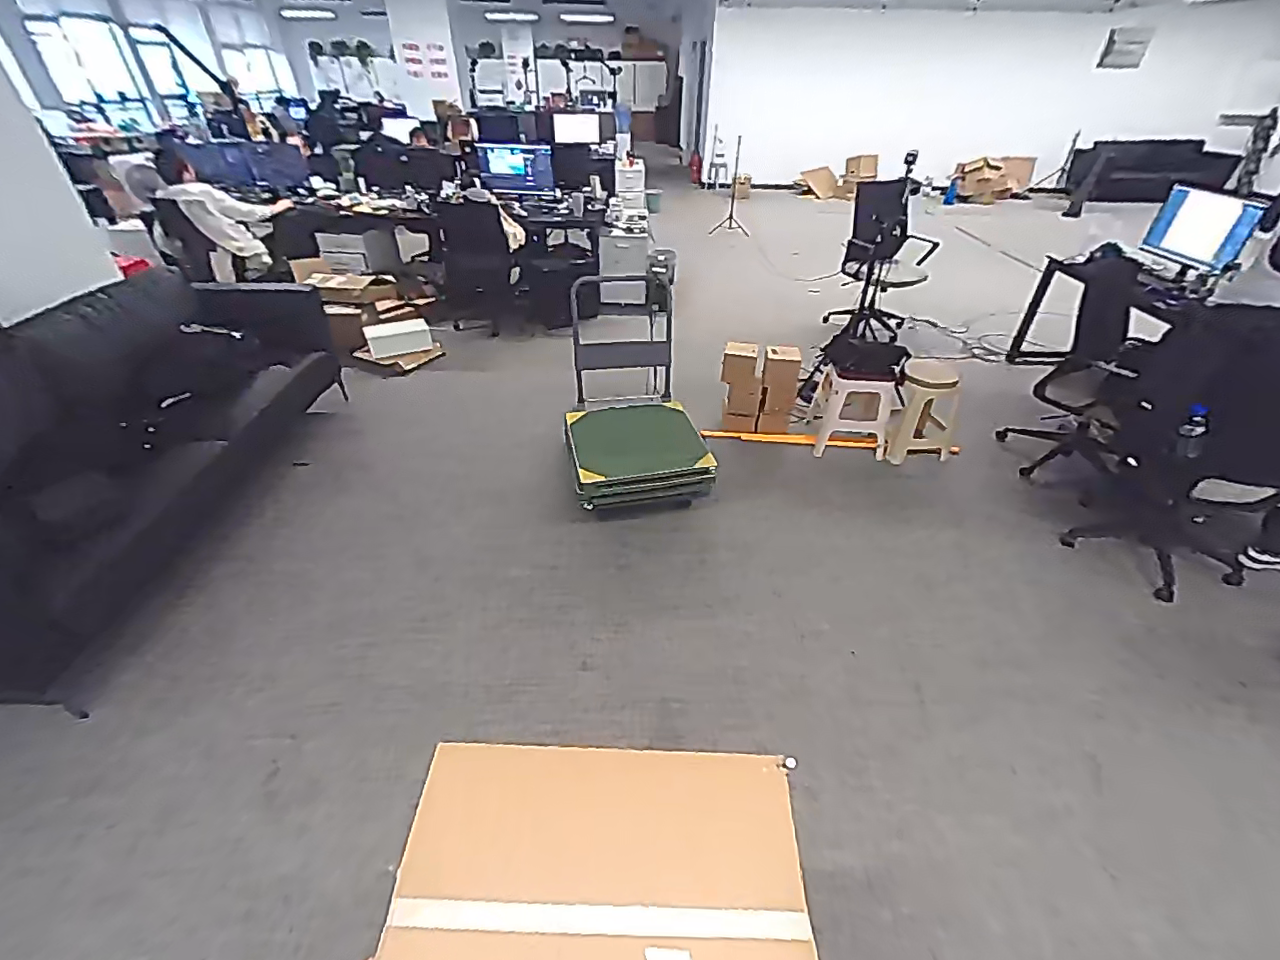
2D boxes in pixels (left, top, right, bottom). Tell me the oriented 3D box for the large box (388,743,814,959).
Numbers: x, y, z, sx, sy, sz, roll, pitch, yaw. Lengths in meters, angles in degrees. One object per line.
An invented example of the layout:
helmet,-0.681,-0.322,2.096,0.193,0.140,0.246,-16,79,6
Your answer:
large box,-0.040,0.528,0.630,0.408,0.320,0.320,2,44,-1
